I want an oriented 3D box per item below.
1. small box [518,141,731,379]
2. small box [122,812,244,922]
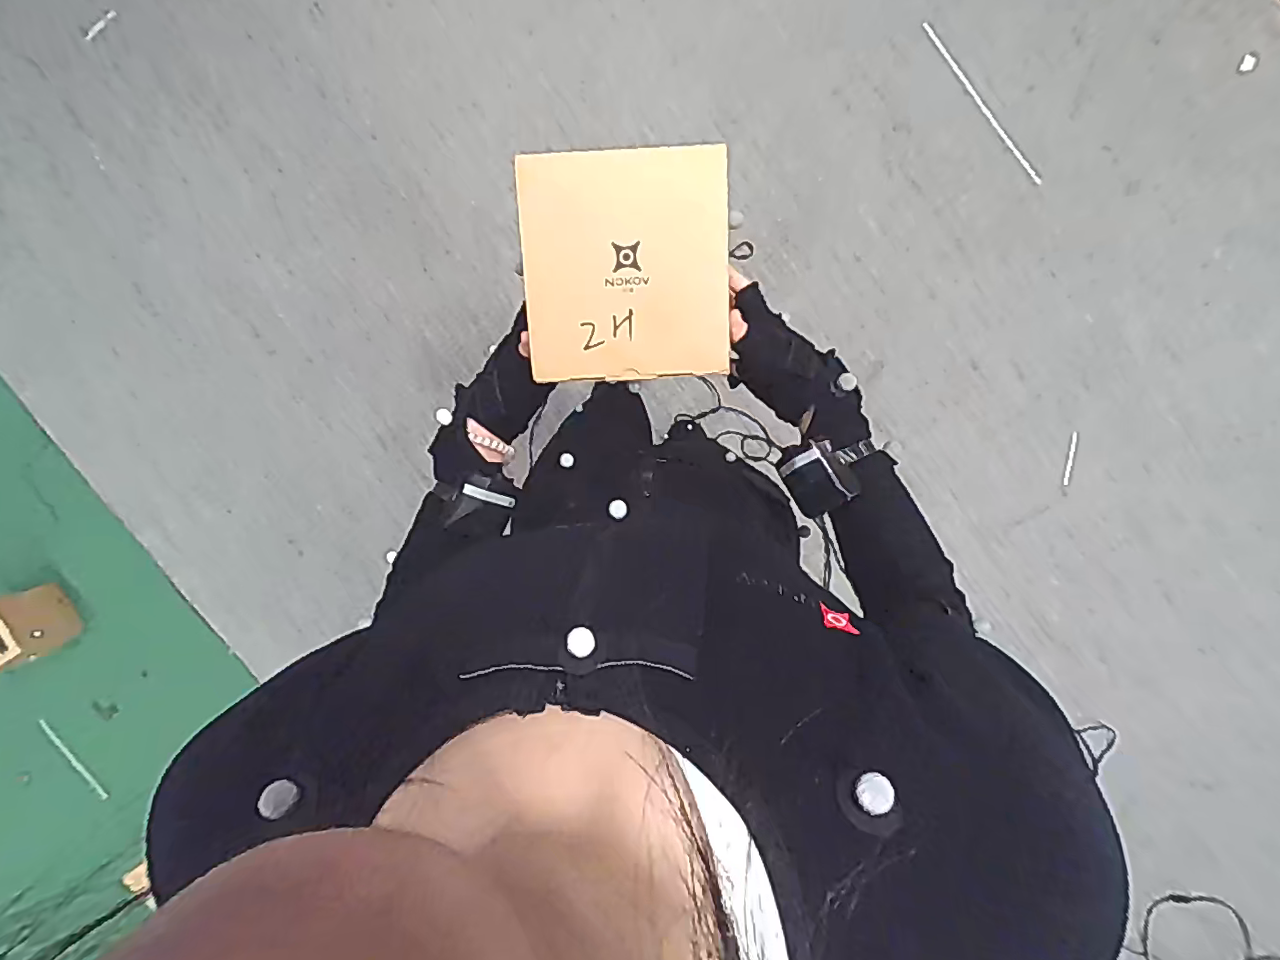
[{"bbox_3d":[-0.010,-0.186,0.504,0.168,0.176,0.179,-2,102,1],"label":"small box"},{"bbox_3d":[-1.332,1.121,1.588,0.168,0.176,0.179,-40,94,7],"label":"small box"}]
